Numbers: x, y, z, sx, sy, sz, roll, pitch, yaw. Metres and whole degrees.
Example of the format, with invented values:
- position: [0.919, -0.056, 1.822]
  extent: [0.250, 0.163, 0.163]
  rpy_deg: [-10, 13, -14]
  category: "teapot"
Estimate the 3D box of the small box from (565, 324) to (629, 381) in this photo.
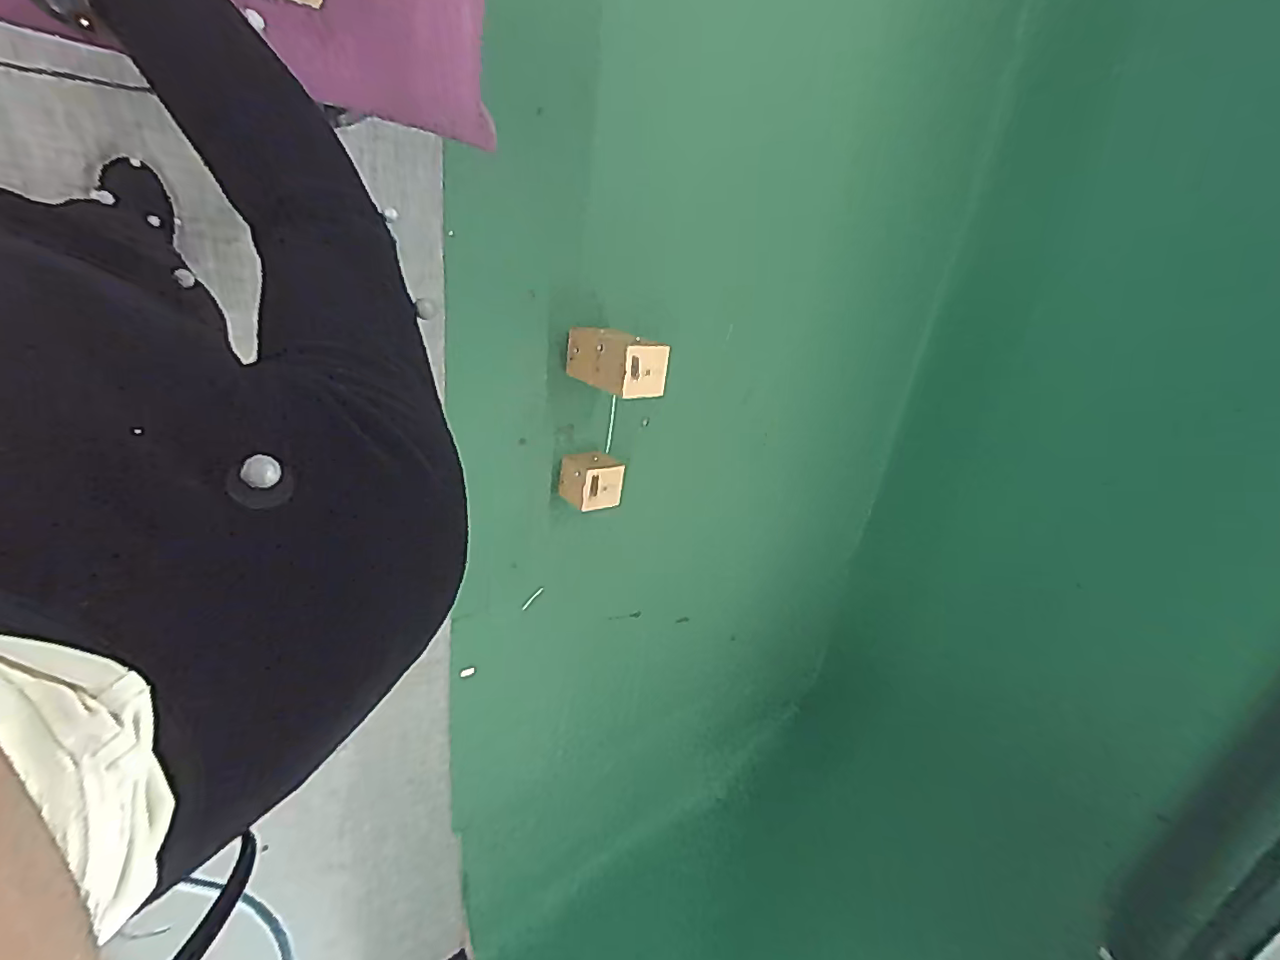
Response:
- position: [-0.138, -0.447, 1.887]
  extent: [0.179, 0.176, 0.168]
  rpy_deg: [-11, 119, -38]
  category: "small box"

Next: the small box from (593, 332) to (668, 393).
- position: [-0.036, -0.387, 1.774]
  extent: [0.179, 0.176, 0.168]
  rpy_deg: [-11, 119, -39]
  category: "small box"
